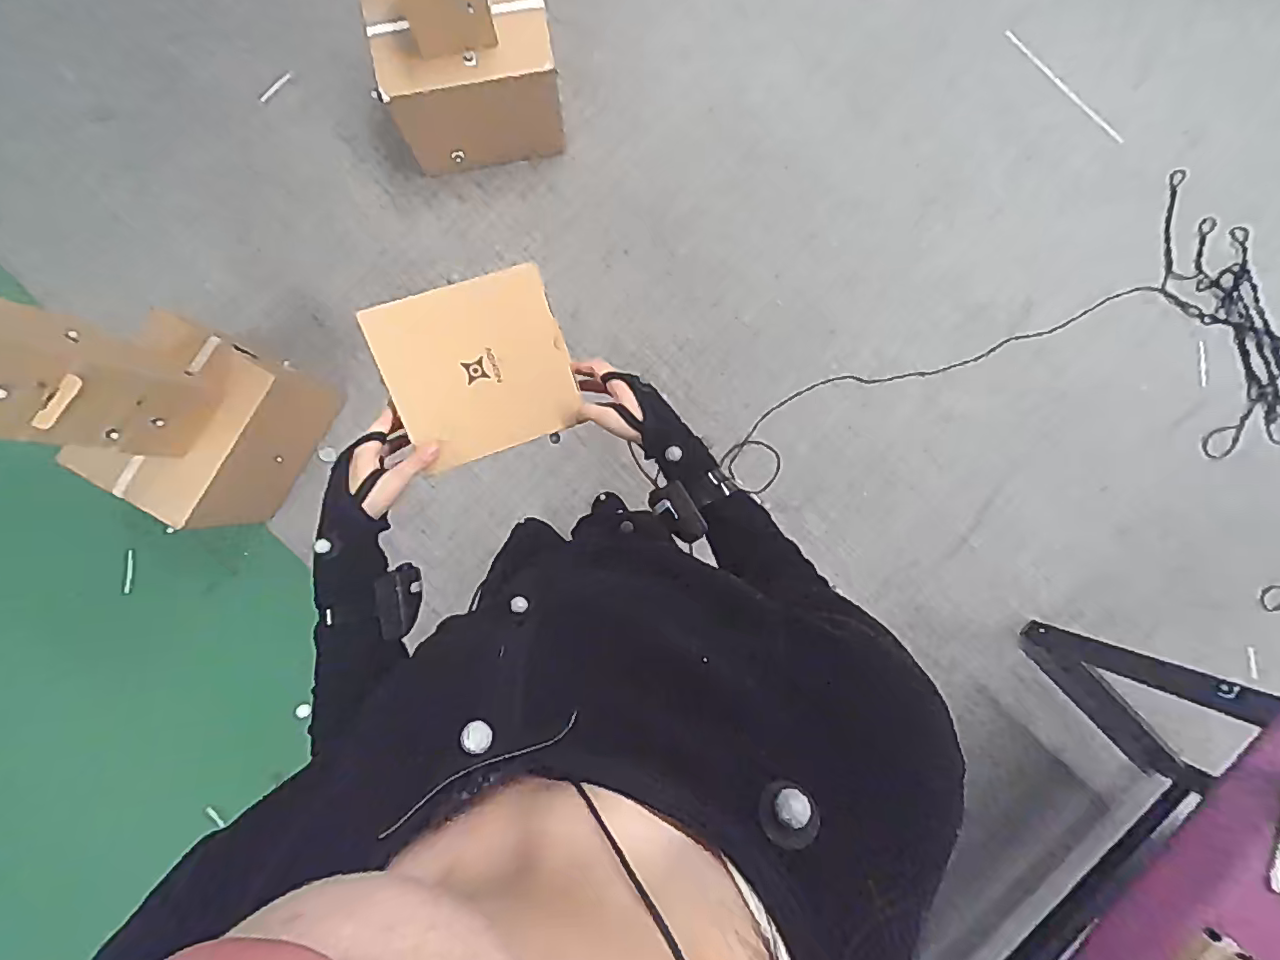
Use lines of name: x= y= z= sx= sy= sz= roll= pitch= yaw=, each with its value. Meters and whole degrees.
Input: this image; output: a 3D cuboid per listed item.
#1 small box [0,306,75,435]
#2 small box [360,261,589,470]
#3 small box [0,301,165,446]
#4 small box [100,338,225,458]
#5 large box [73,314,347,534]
small box: x=-0.999 y=-0.174 z=0.775 sx=0.179 sy=0.176 sz=0.168 roll=34 pitch=87 yaw=-3
small box: x=-0.174 y=-0.120 z=0.604 sx=0.179 sy=0.176 sz=0.168 roll=-21 pitch=102 yaw=-12
small box: x=-1.001 y=-0.172 z=0.939 sx=0.179 sy=0.176 sz=0.168 roll=36 pitch=88 yaw=-2
small box: x=-1.009 y=-0.157 z=1.102 sx=0.168 sy=0.176 sz=0.179 roll=34 pitch=87 yaw=-2
large box: x=-1.030 y=-0.126 z=1.346 sx=0.320 sy=0.320 sz=0.408 roll=30 pitch=89 yaw=0
